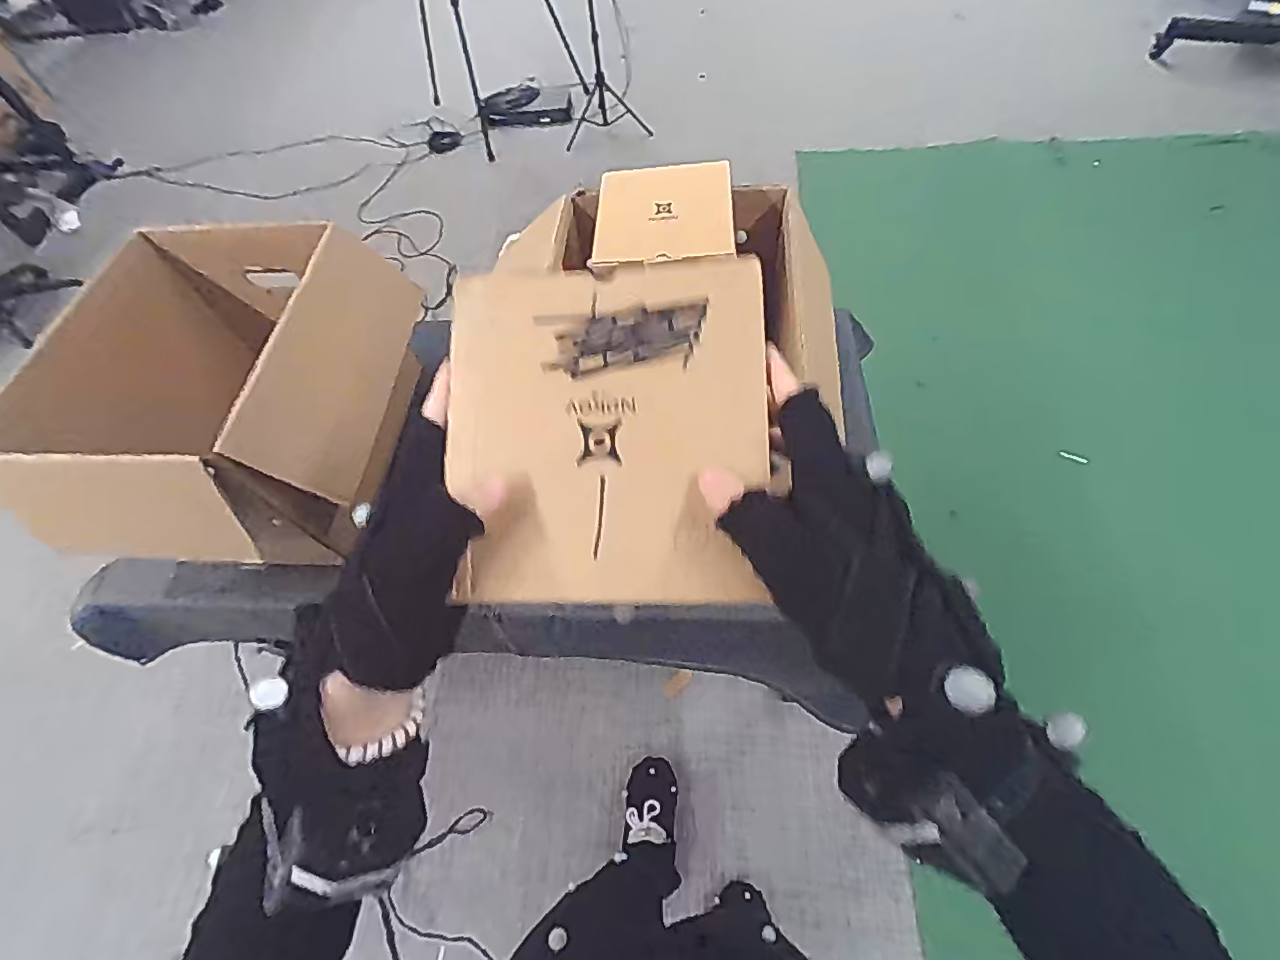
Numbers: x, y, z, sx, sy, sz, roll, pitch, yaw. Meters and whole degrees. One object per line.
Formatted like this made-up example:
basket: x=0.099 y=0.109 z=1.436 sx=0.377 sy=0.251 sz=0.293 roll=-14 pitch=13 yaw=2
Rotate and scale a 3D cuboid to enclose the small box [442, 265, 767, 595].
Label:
small box: x=-0.009 y=-0.017 z=0.360 sx=0.168 sy=0.176 sz=0.179 roll=0 pitch=80 yaw=7
